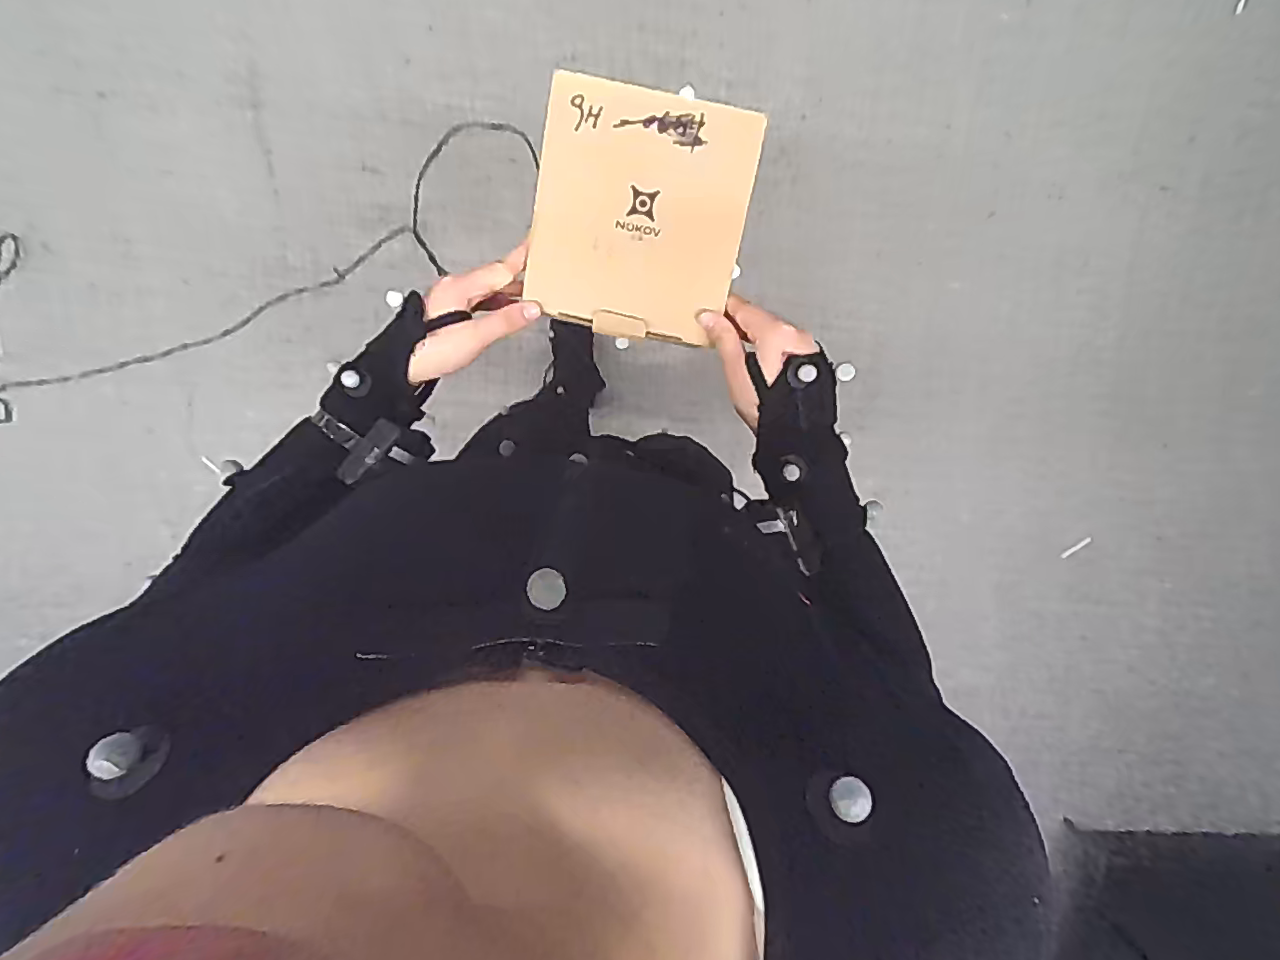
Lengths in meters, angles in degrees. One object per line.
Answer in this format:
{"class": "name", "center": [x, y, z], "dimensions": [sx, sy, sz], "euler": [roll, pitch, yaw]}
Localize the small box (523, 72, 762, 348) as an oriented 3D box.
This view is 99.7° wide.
{"class": "small box", "center": [0.000, -0.230, 0.505], "dimensions": [0.168, 0.176, 0.179], "euler": [11, 106, -2]}
